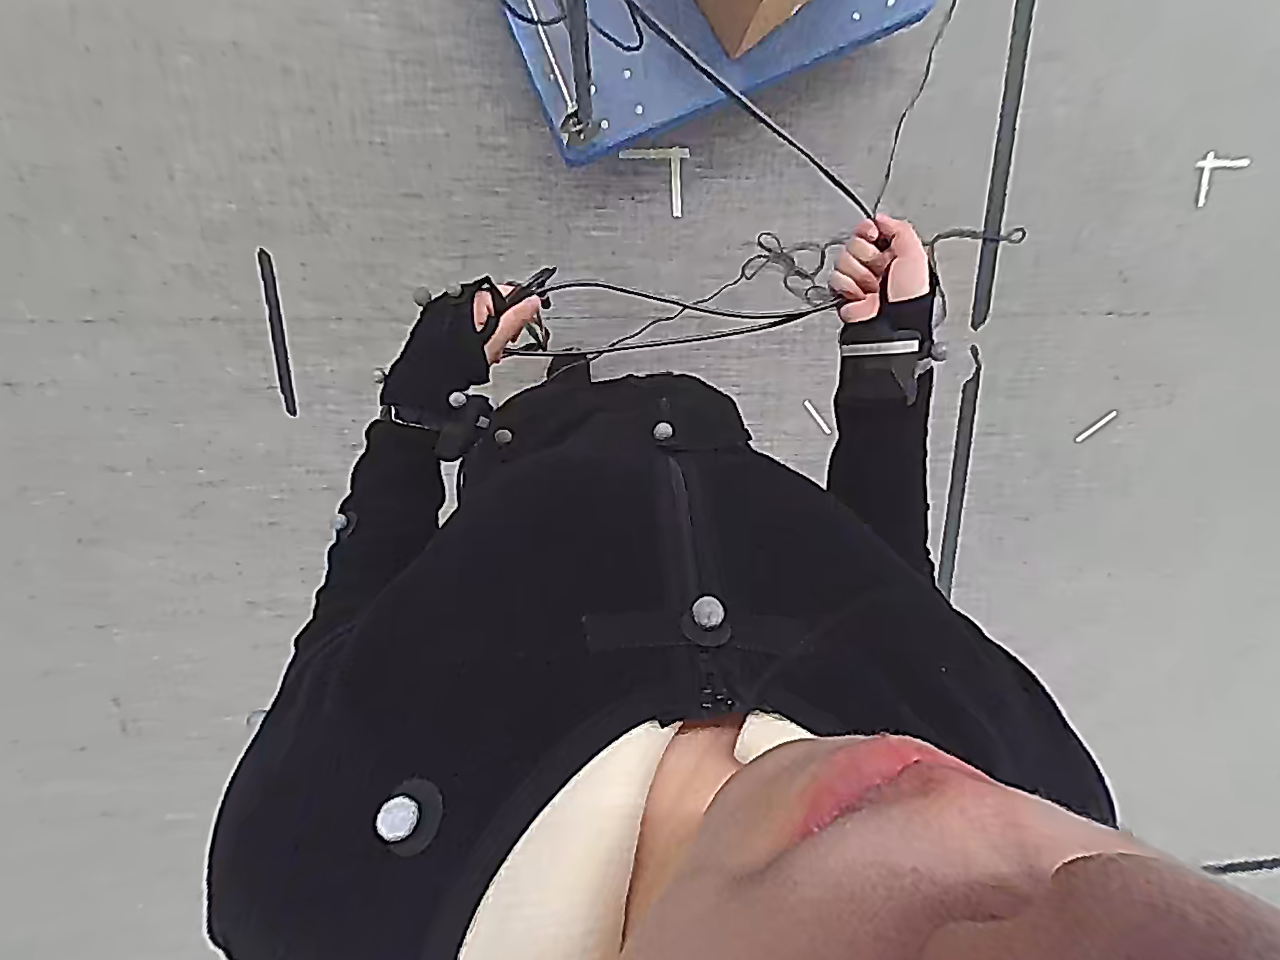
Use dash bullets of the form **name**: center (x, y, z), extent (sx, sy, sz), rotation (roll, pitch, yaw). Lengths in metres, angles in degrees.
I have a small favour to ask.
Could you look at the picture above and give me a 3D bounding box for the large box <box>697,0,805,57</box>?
- **large box**: center (0.207, -1.087, 0.933), extent (0.320, 0.320, 0.408), rotation (-37, 105, 4)
